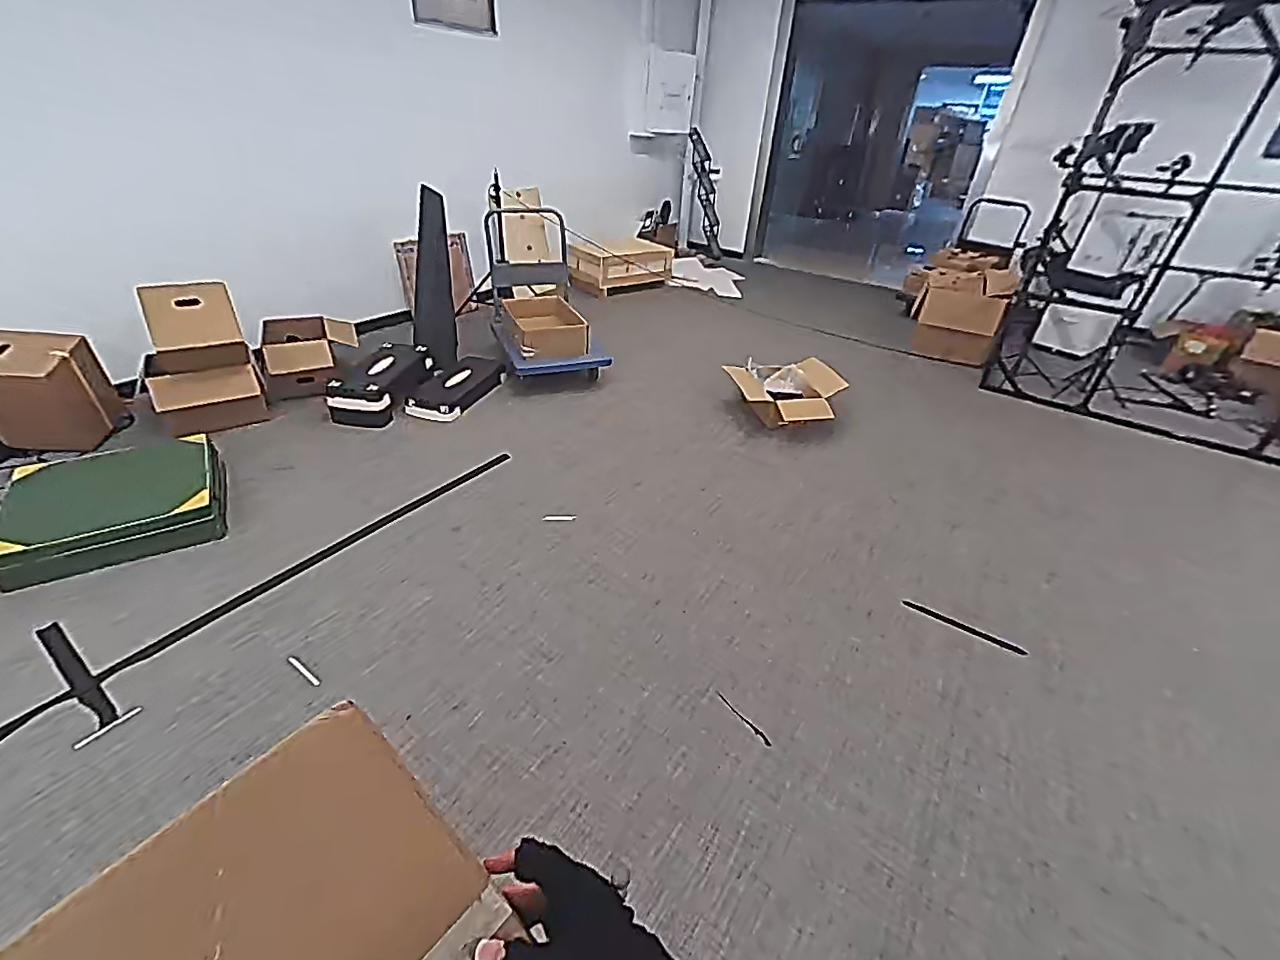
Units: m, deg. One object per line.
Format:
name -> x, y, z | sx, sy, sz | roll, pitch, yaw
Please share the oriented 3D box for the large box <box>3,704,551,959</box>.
large box -> -0.272, 0.426, 0.344 | 0.408, 0.320, 0.320 | -36, 81, -34
